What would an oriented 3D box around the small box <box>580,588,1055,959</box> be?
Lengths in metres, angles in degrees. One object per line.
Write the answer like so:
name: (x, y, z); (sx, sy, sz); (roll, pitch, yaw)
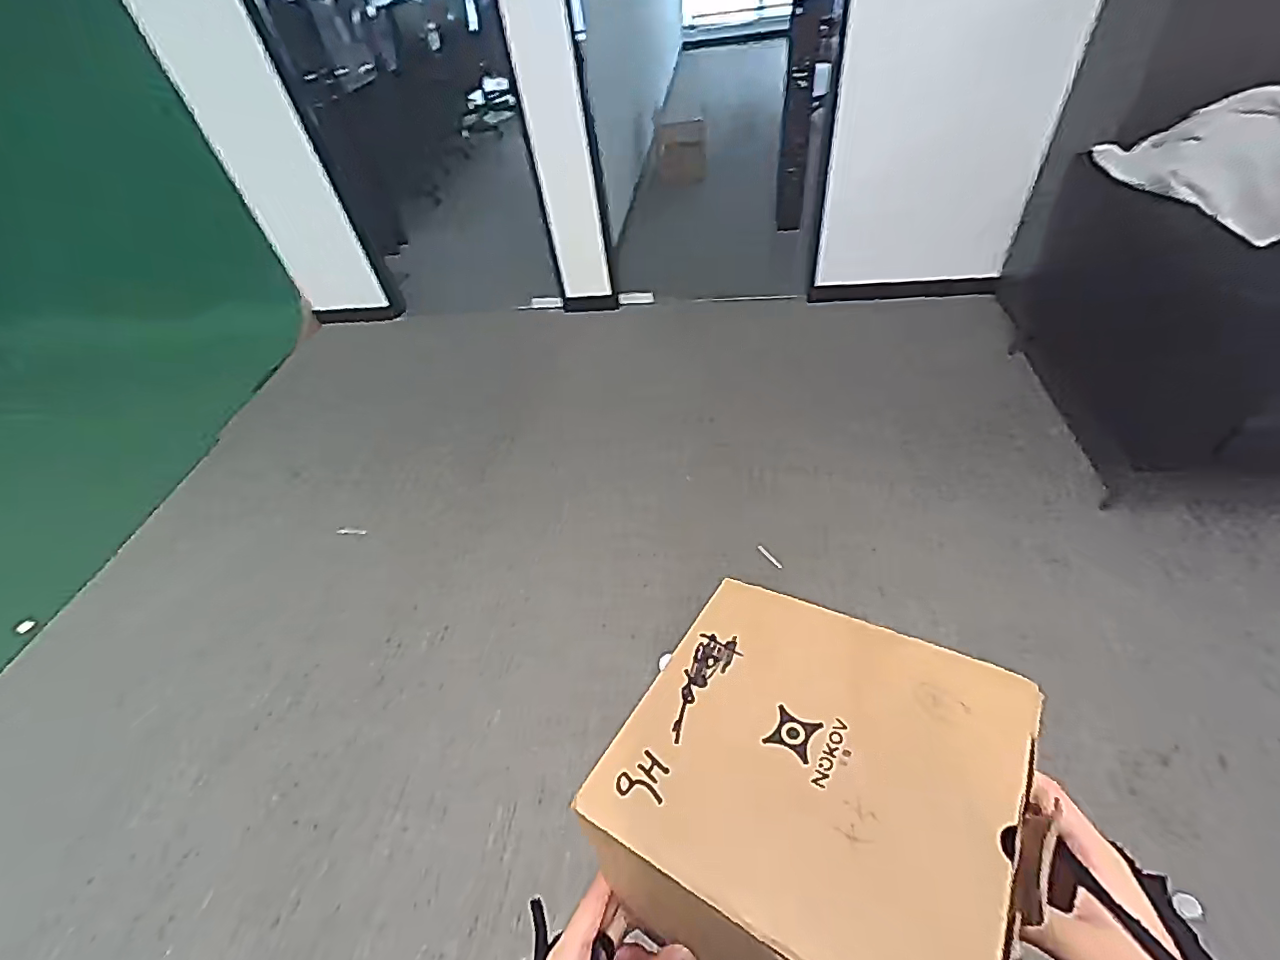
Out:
small box: (0.097, 0.199, 0.307); (0.179, 0.176, 0.168); (16, 43, 33)
